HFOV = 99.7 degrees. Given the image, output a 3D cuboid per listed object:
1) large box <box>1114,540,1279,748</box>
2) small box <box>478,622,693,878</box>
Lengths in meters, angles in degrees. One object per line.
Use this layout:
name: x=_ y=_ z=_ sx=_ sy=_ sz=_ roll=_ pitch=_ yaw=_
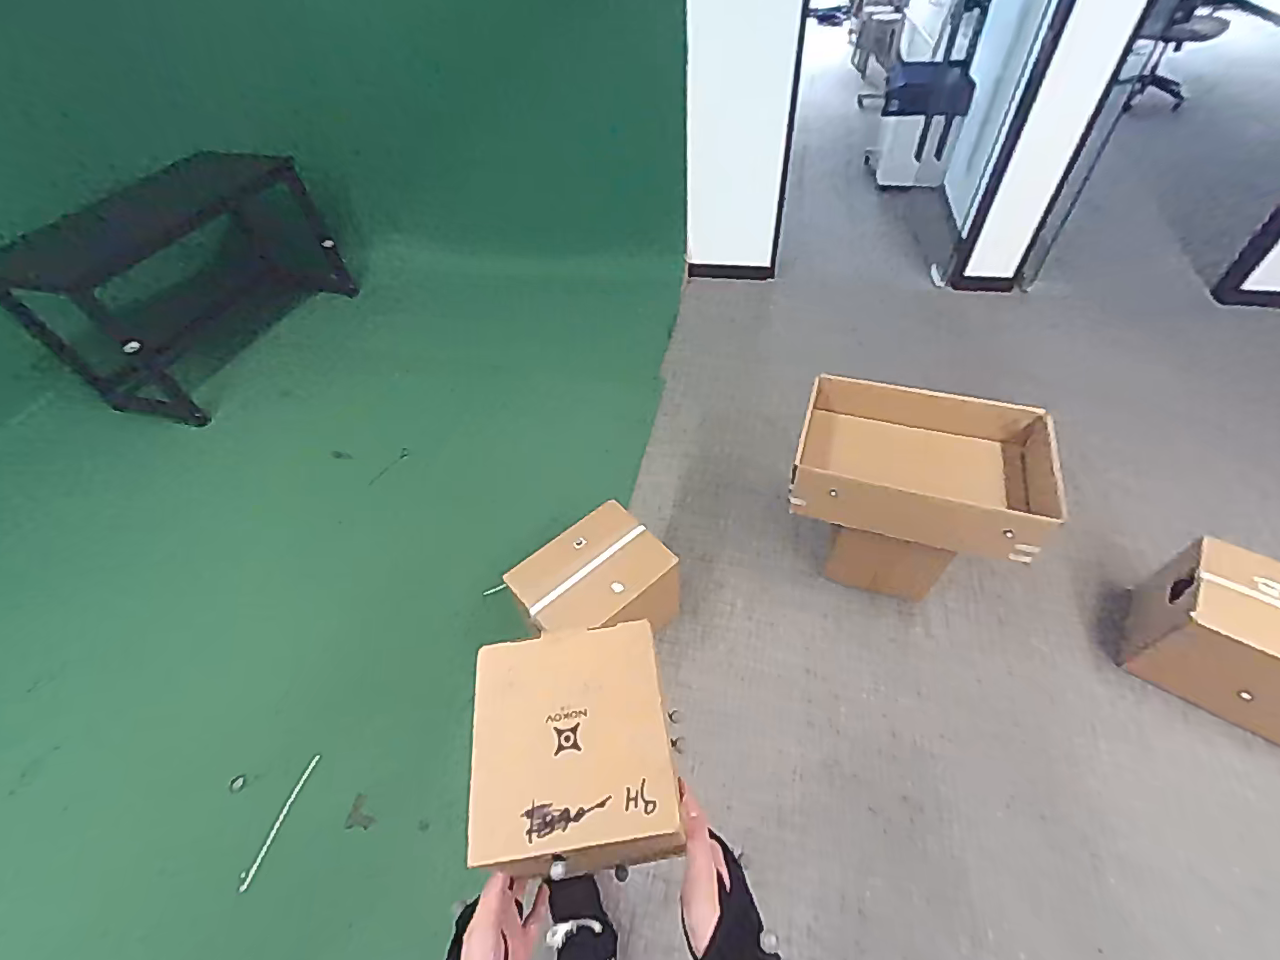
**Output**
large box: x=1.592 y=0.435 z=1.425 sx=0.408 sy=0.320 sz=0.320 roll=27 pitch=56 yaw=26
small box: x=-0.044 y=0.262 z=0.522 sx=0.168 sy=0.176 sz=0.179 roll=-9 pitch=50 yaw=0
